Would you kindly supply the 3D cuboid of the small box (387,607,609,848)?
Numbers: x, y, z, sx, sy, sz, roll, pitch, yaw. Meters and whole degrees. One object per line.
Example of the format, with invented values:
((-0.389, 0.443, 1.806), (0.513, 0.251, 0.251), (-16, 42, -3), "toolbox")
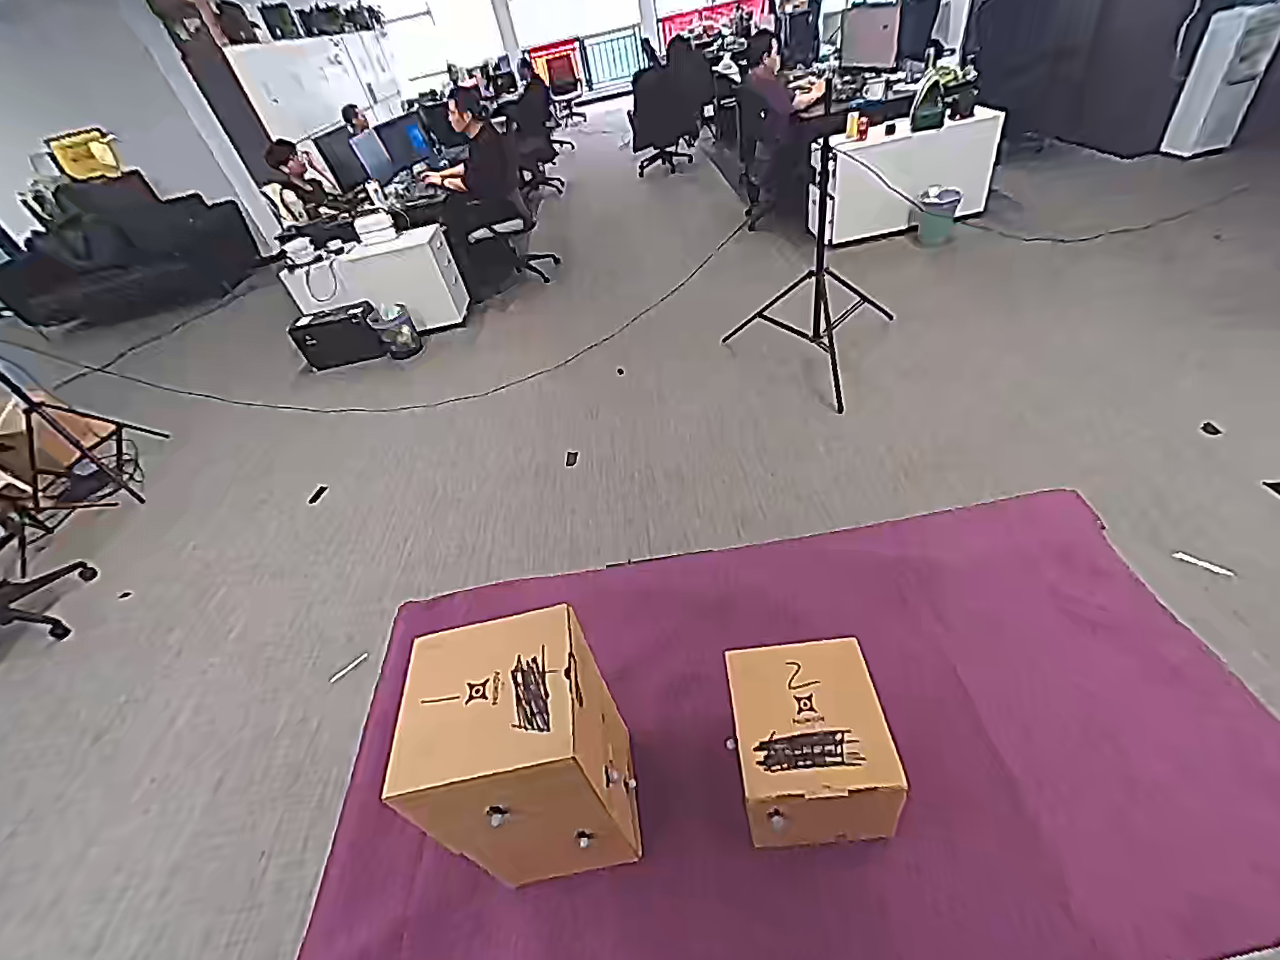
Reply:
((-0.134, 0.267, 0.583), (0.179, 0.176, 0.168), (-13, 40, 1), "small box")

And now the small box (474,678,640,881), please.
((-0.108, 0.386, 0.694), (0.179, 0.176, 0.168), (-12, 41, 1), "small box")
